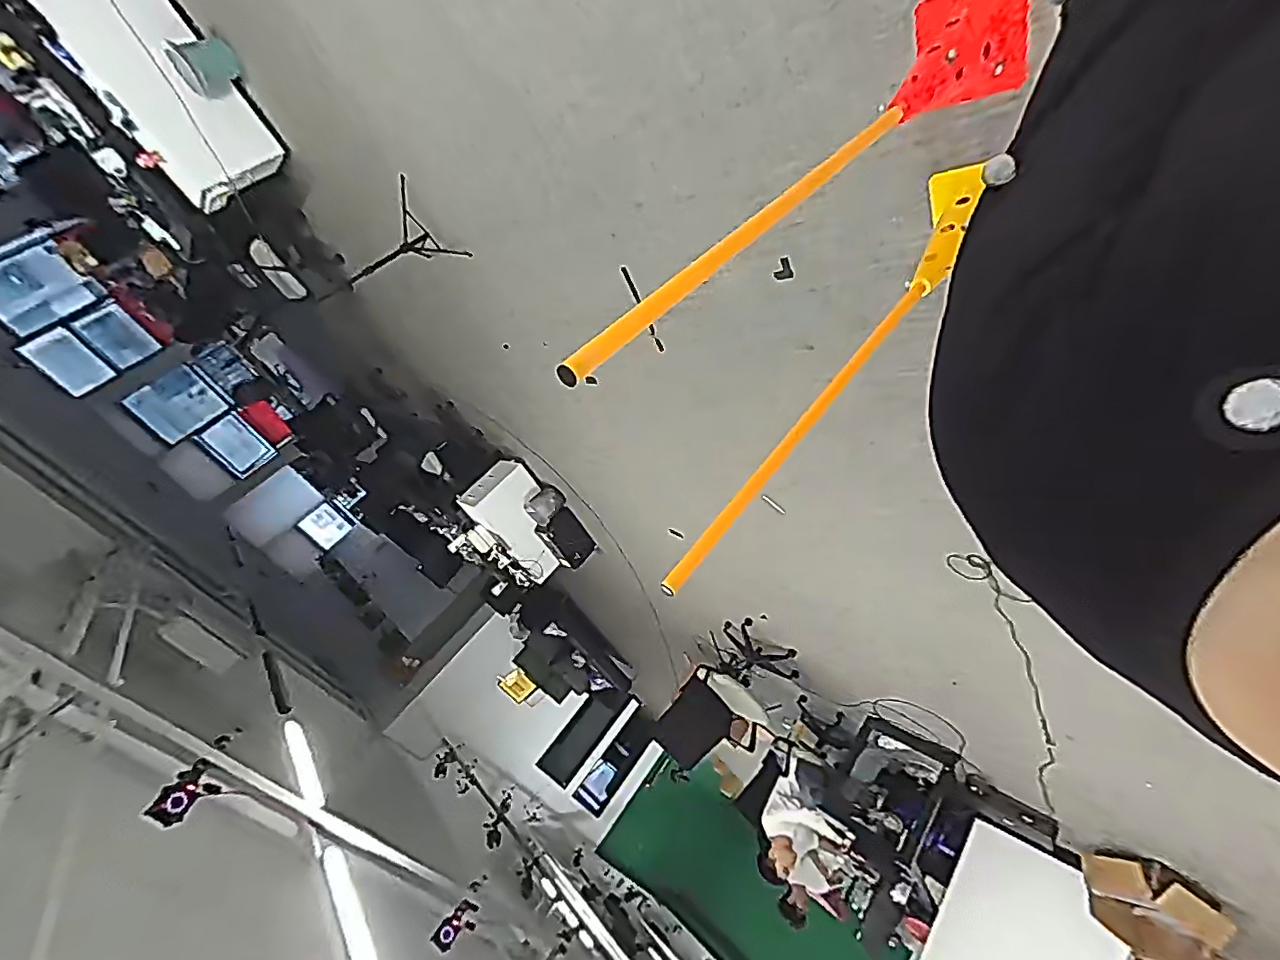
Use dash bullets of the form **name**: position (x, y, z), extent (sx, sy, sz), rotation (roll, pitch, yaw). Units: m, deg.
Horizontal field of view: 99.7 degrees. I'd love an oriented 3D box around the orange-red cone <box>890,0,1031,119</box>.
- **orange-red cone**: position (0.553, -0.757, 1.002), extent (0.198, 0.360, 0.199), rotation (17, 144, 42)
